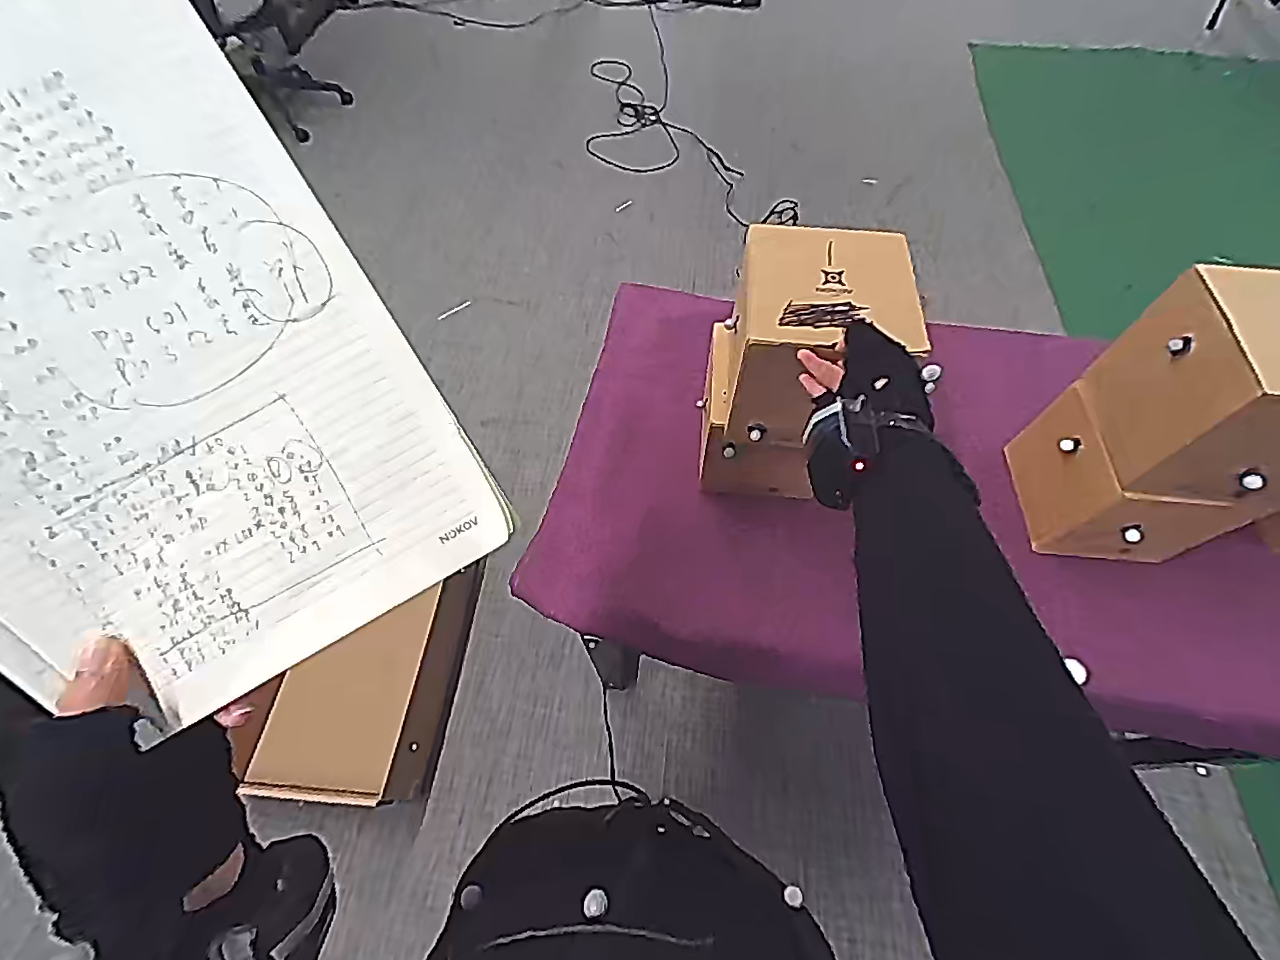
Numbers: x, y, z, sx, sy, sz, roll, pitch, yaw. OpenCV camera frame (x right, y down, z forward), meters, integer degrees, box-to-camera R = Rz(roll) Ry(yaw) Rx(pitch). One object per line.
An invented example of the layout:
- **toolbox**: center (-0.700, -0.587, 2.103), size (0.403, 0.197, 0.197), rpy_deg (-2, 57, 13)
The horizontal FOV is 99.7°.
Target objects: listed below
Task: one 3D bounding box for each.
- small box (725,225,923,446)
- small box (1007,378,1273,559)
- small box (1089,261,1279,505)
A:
- **small box**: center (0.189, -0.155, 0.606), size (0.168, 0.176, 0.179), rpy_deg (5, 60, 4)
- **small box**: center (0.624, -0.009, 0.707), size (0.168, 0.176, 0.179), rpy_deg (5, 60, 4)
- **small box**: center (0.625, -0.097, 0.567), size (0.168, 0.176, 0.179), rpy_deg (7, 60, 6)
